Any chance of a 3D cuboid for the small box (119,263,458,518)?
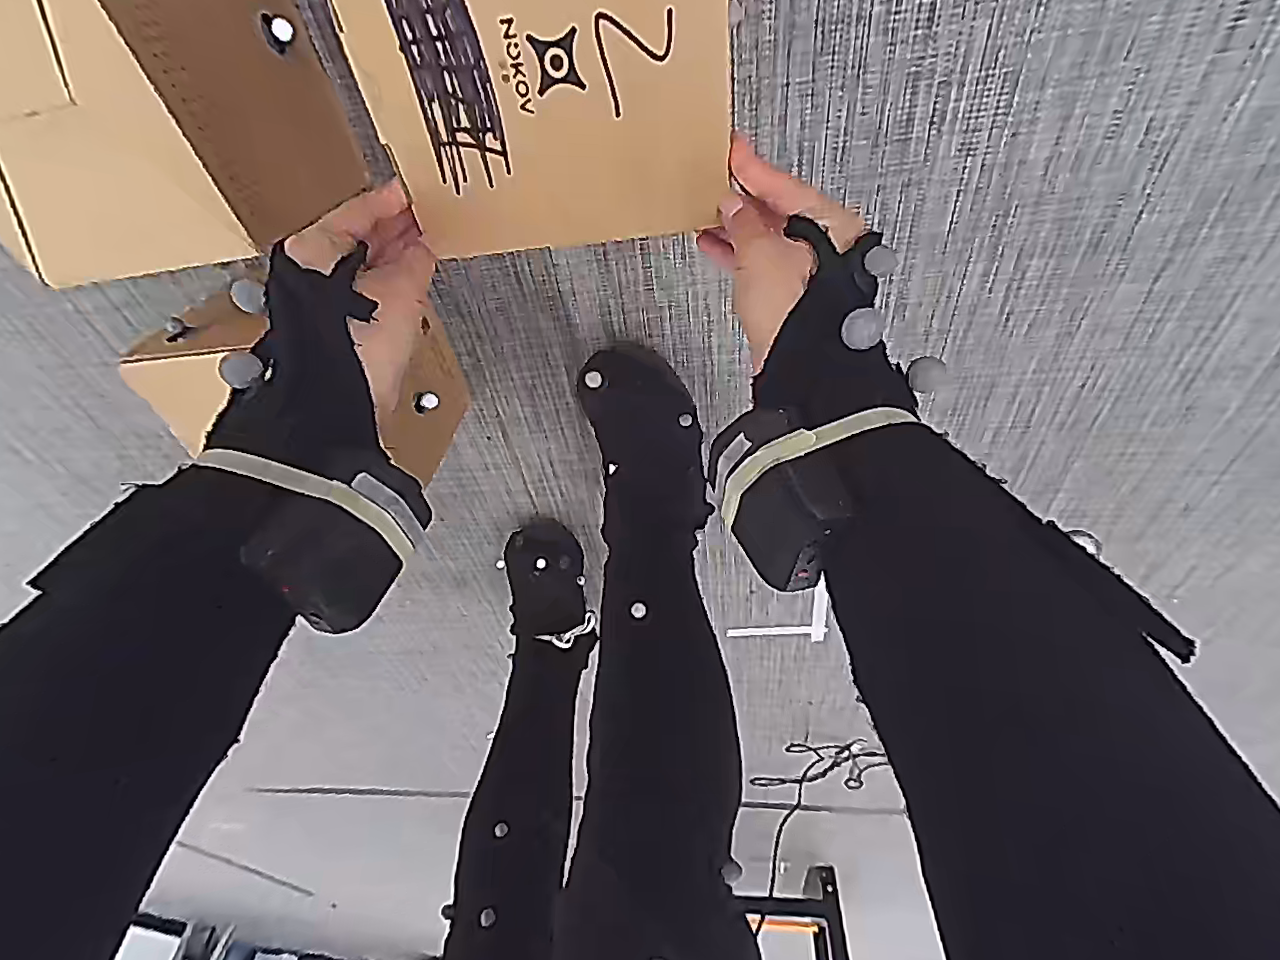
[{"bbox_3d":[-0.288,-0.084,0.500,0.179,0.176,0.168,-3,133,8],"label":"small box"}]
